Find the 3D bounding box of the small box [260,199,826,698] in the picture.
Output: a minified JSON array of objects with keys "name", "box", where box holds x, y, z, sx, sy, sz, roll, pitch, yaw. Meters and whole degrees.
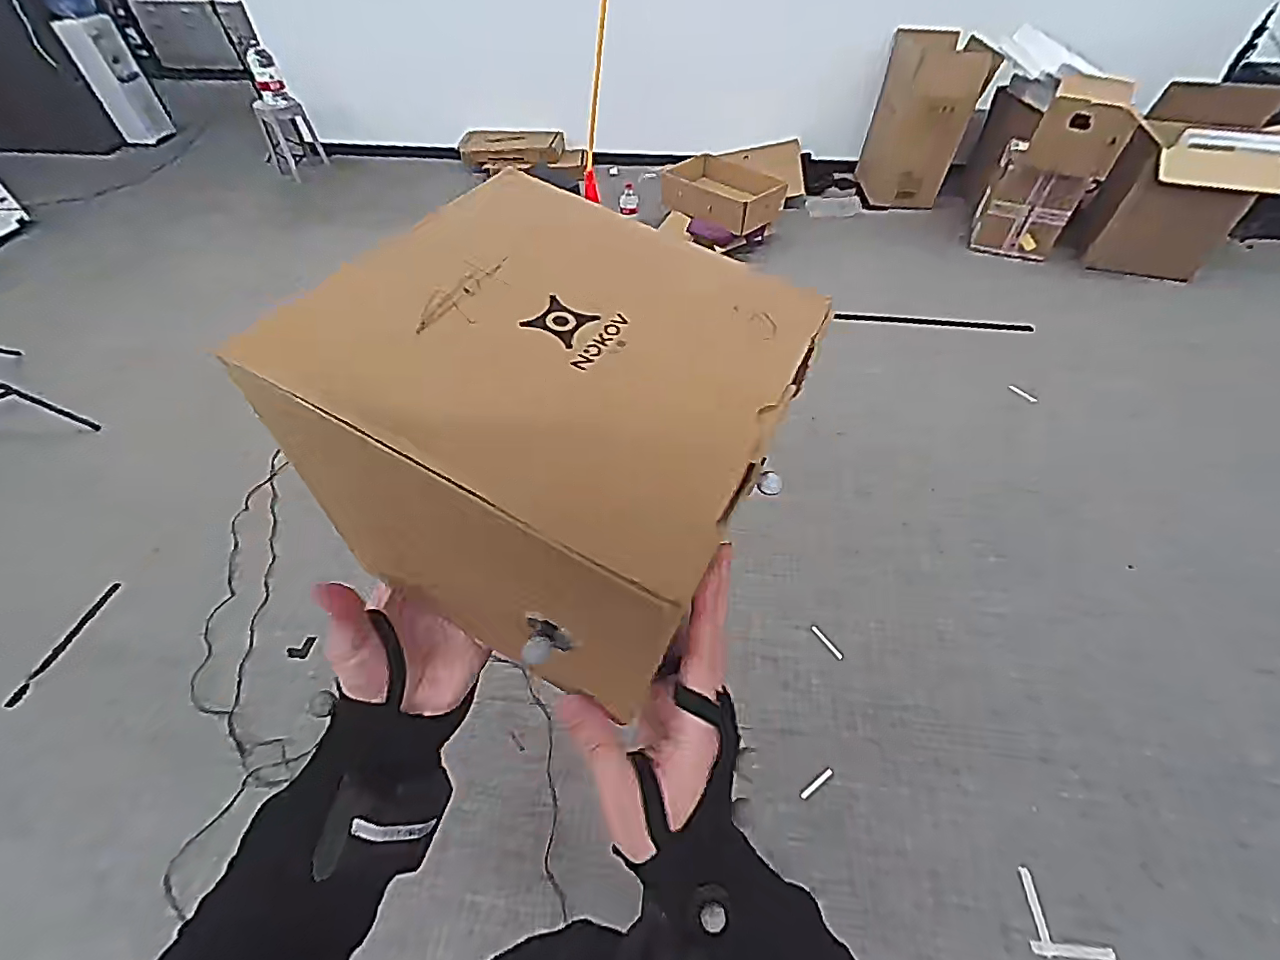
[{"name":"small box","box":[-0.034,-0.007,0.286,0.179,0.176,0.168,25,55,10]}]
